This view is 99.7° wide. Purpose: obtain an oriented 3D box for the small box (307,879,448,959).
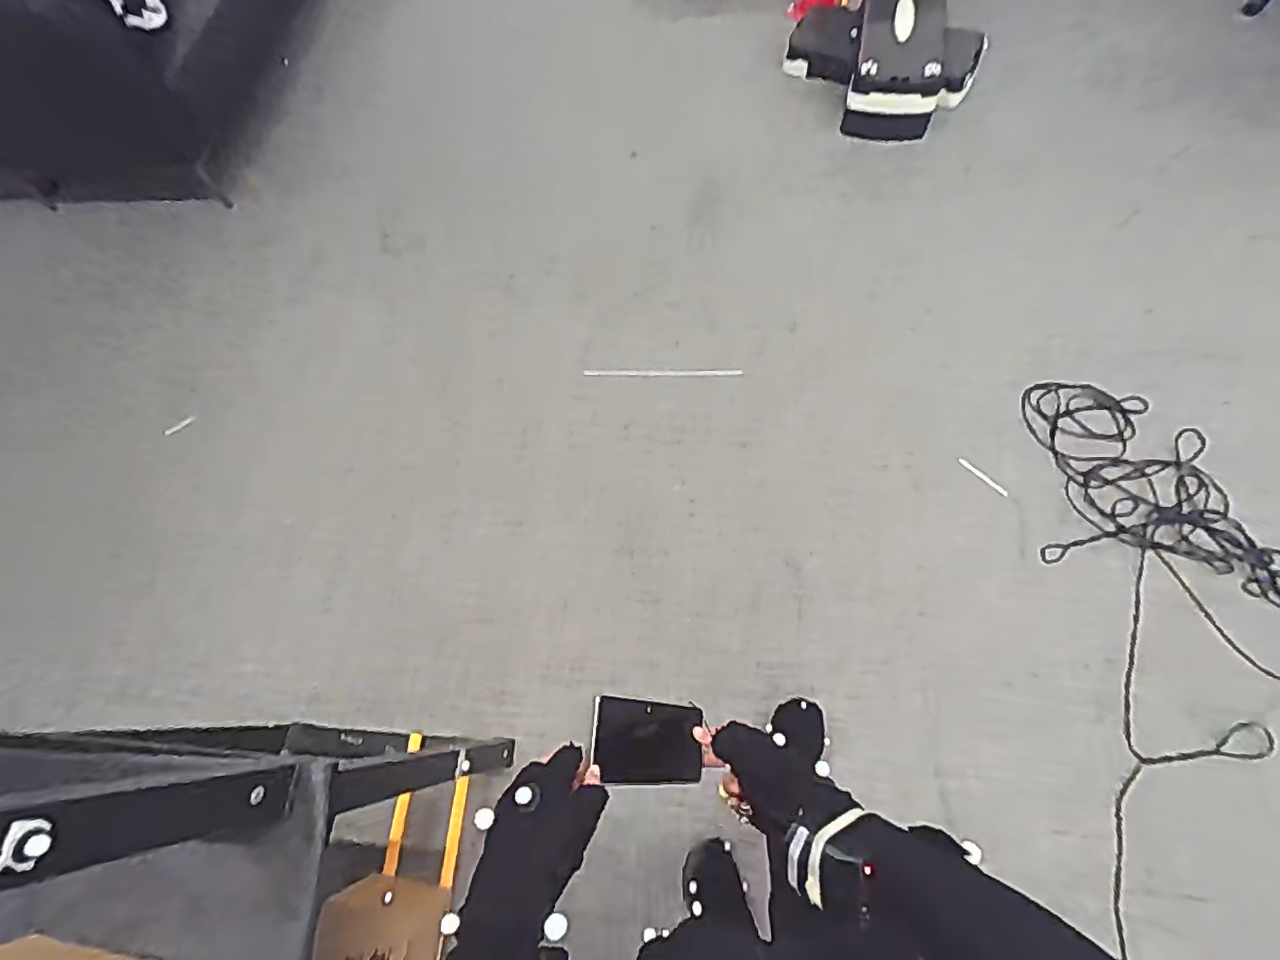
[{"bbox_3d":[-0.478,0.861,0.989,0.179,0.176,0.168,5,67,8],"label":"small box"}]
